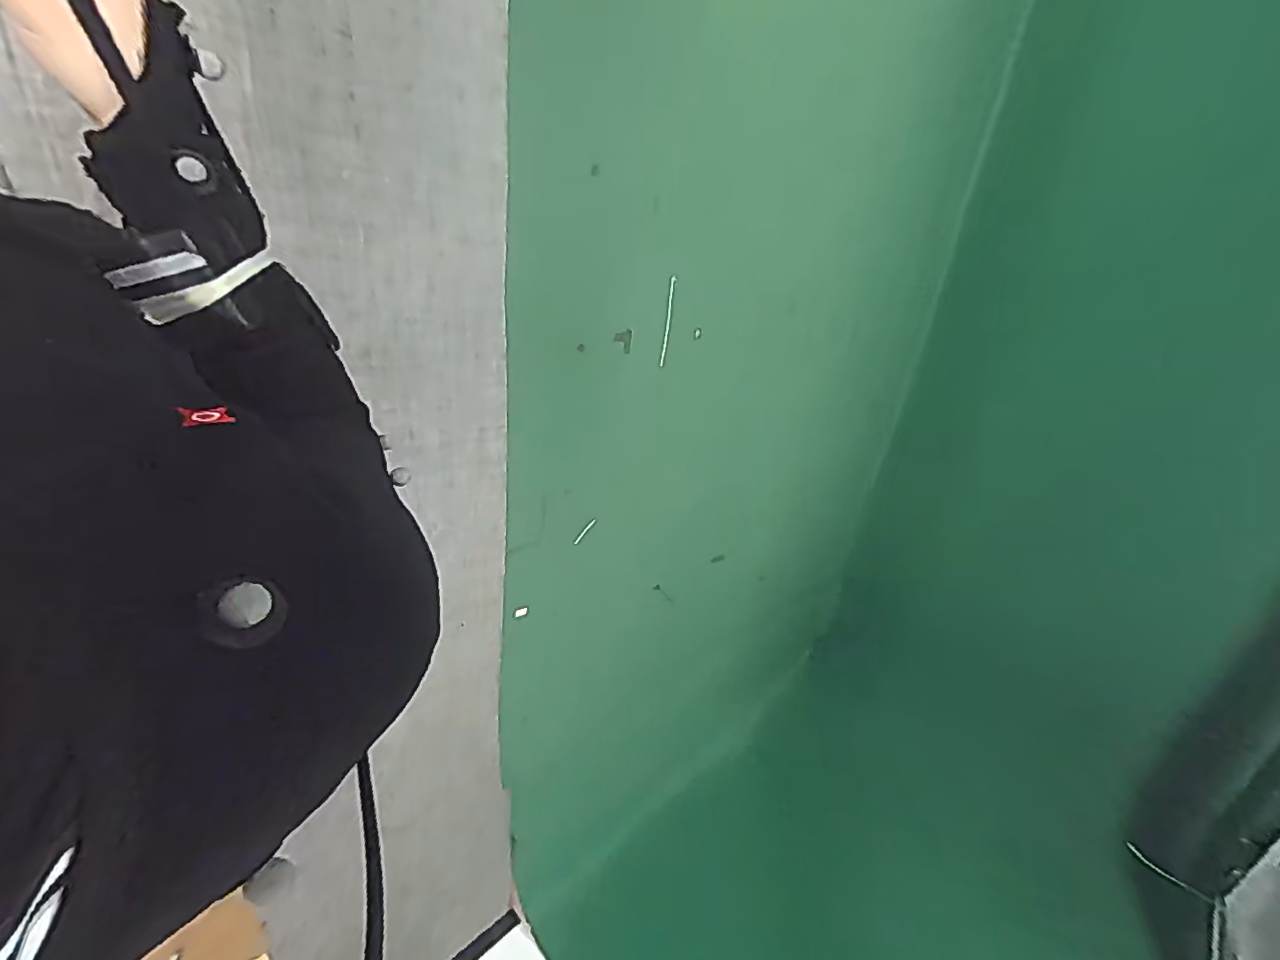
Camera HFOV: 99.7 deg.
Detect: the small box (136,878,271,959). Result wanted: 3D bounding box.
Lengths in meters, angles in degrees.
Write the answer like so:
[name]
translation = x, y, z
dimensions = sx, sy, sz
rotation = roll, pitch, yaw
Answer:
[small box]
translation = -0.768, 0.861, 0.959
dimensions = 0.168, 0.176, 0.179
rotation = -10, 120, -42
